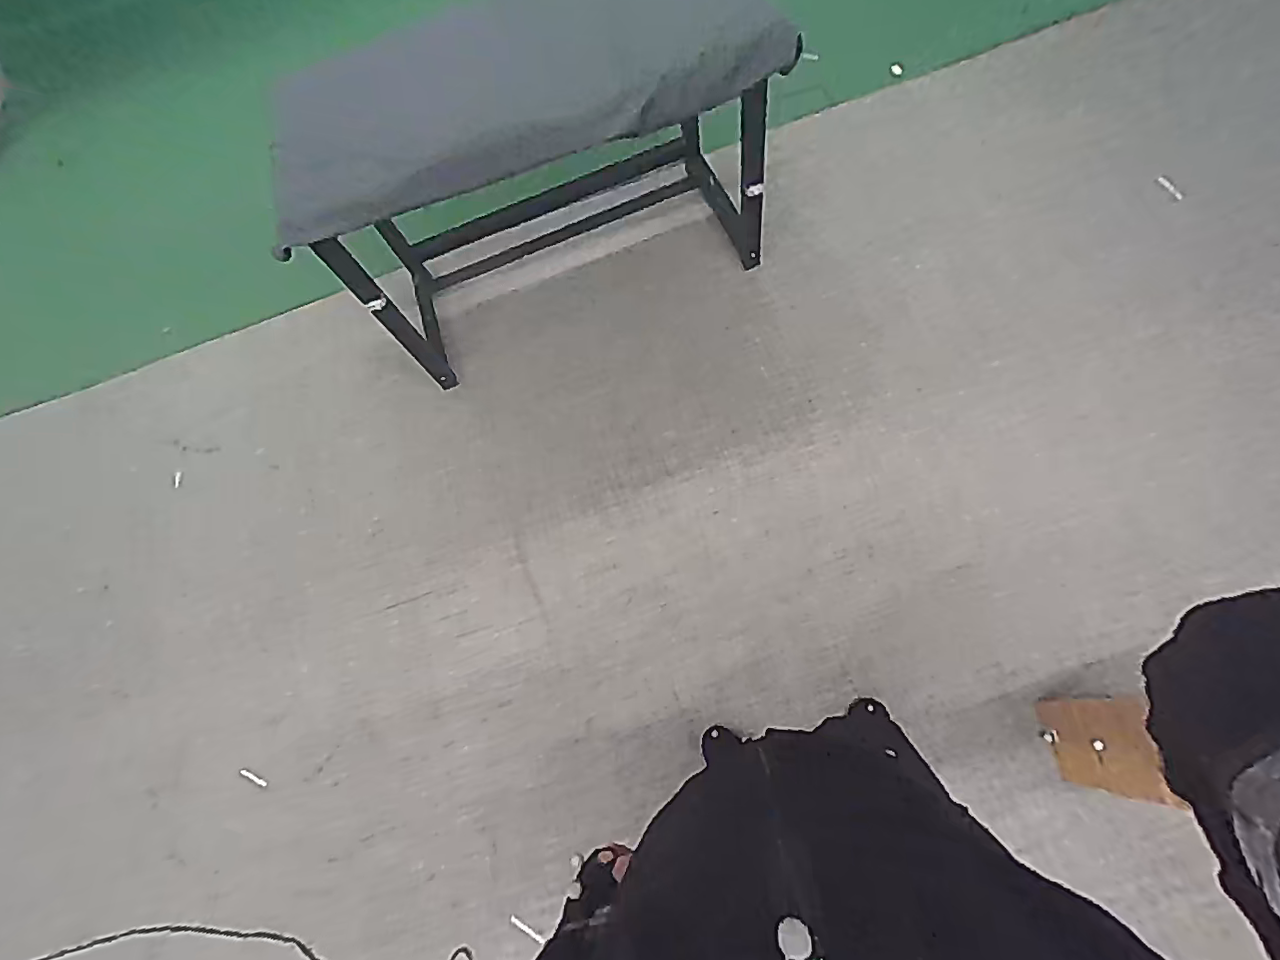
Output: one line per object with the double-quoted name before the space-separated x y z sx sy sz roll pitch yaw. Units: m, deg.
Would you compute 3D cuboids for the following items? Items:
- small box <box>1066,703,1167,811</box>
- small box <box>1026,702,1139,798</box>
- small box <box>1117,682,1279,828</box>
"small box" 0.962 0.509 1.013 0.179 0.176 0.168 -8 65 6
"small box" 0.986 0.573 1.163 0.179 0.176 0.168 -9 65 6
"small box" 0.931 0.437 0.870 0.179 0.176 0.168 -16 65 2
